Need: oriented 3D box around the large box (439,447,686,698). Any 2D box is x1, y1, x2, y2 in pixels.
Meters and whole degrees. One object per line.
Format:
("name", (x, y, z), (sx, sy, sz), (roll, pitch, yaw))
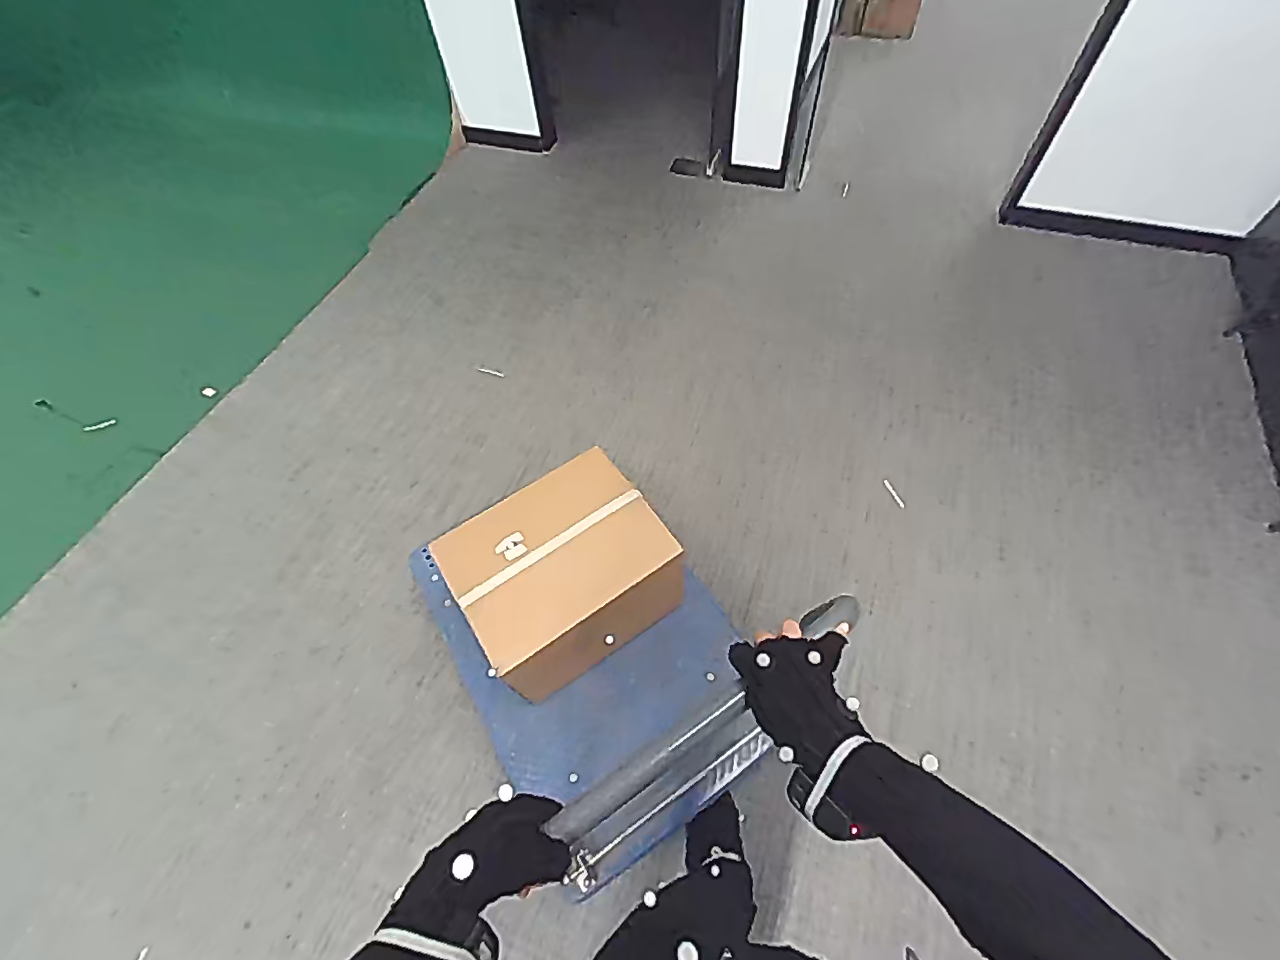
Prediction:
("large box", (-0.147, 0.207, 1.189), (0.408, 0.320, 0.320), (-33, 62, -15))
